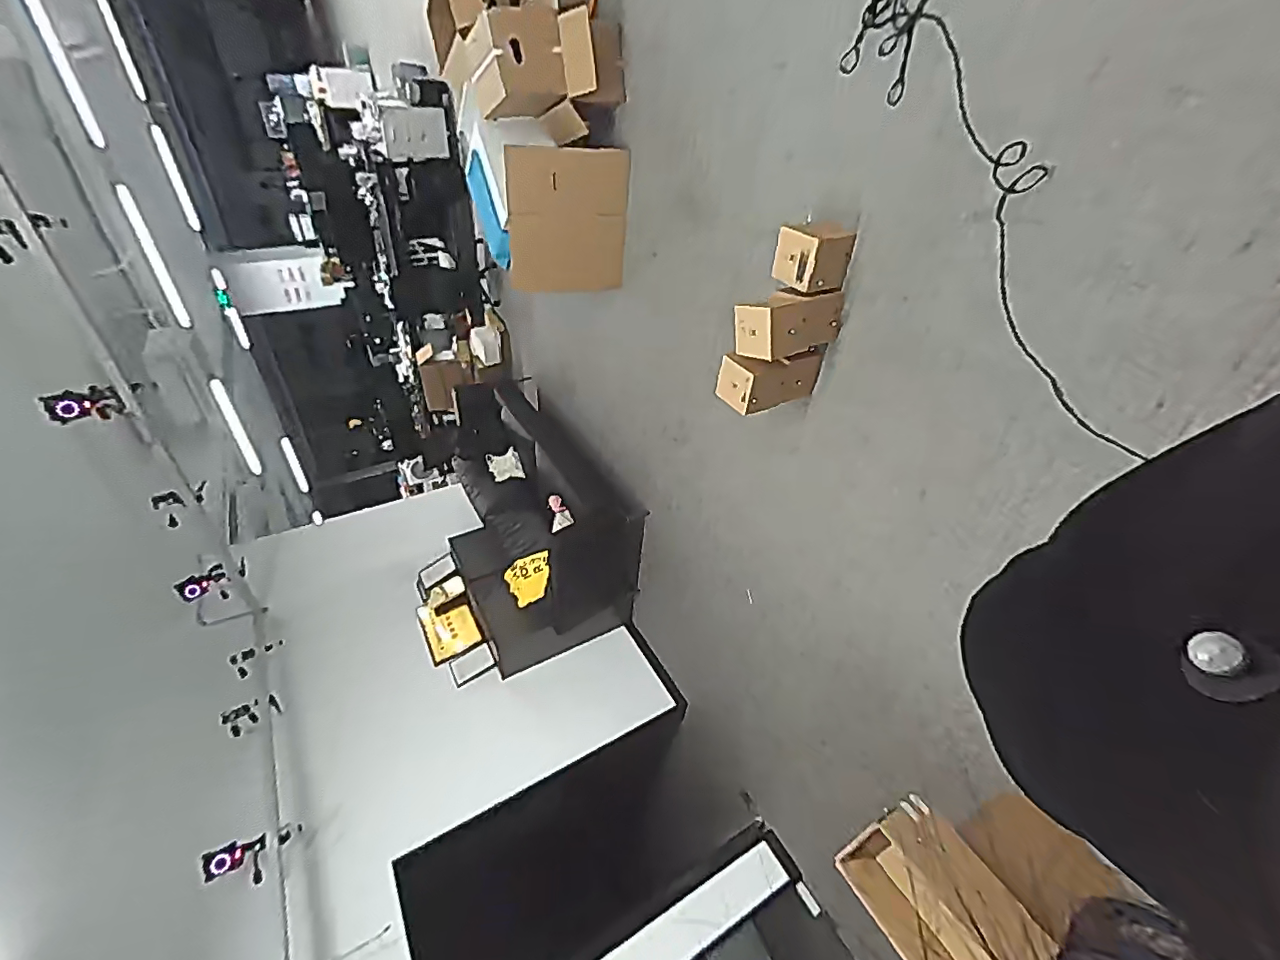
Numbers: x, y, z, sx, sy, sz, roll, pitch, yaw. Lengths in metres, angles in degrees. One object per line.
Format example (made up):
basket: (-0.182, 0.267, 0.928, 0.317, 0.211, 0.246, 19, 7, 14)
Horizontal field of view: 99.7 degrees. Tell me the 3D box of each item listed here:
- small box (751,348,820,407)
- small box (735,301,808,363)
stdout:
small box: (0.548, -0.403, 2.024, 0.168, 0.176, 0.179, 49, 147, 41)
small box: (0.439, -0.499, 1.801, 0.179, 0.176, 0.168, 32, 134, 54)
